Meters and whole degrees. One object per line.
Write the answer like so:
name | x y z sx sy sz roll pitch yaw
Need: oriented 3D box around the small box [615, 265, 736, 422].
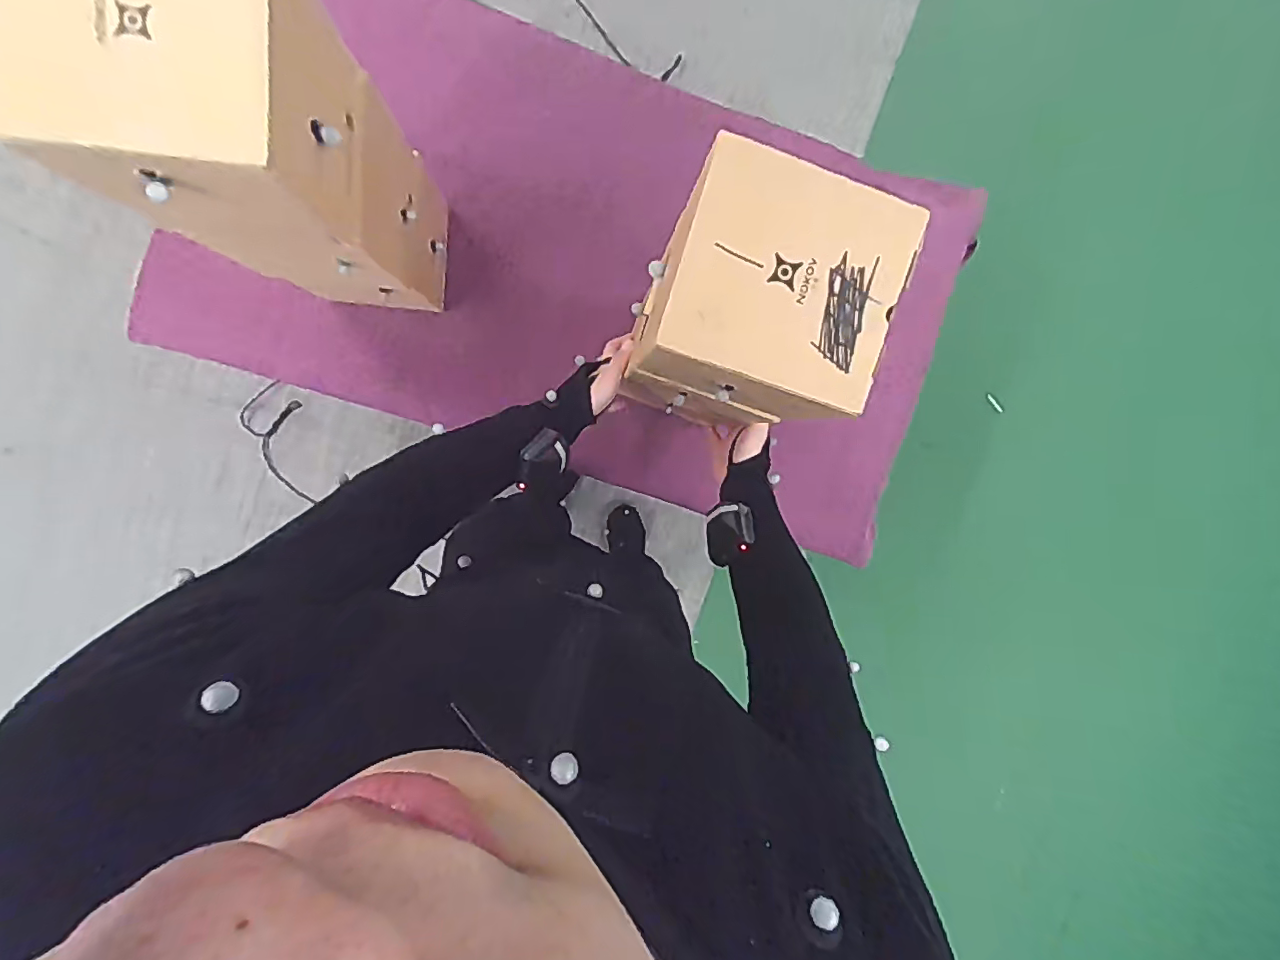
small box | 0.071 -0.190 0.815 0.179 0.176 0.168 20 93 -8

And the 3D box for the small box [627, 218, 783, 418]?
small box | 0.092 -0.176 0.654 0.179 0.176 0.168 19 93 -8

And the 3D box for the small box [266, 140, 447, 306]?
small box | -0.373 -0.344 0.742 0.179 0.176 0.168 5 95 -7

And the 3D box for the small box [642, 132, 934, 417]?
small box | 0.114 -0.162 0.491 0.179 0.176 0.168 18 93 -8

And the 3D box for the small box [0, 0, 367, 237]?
small box | -0.329 -0.304 0.421 0.179 0.176 0.168 3 96 -8
